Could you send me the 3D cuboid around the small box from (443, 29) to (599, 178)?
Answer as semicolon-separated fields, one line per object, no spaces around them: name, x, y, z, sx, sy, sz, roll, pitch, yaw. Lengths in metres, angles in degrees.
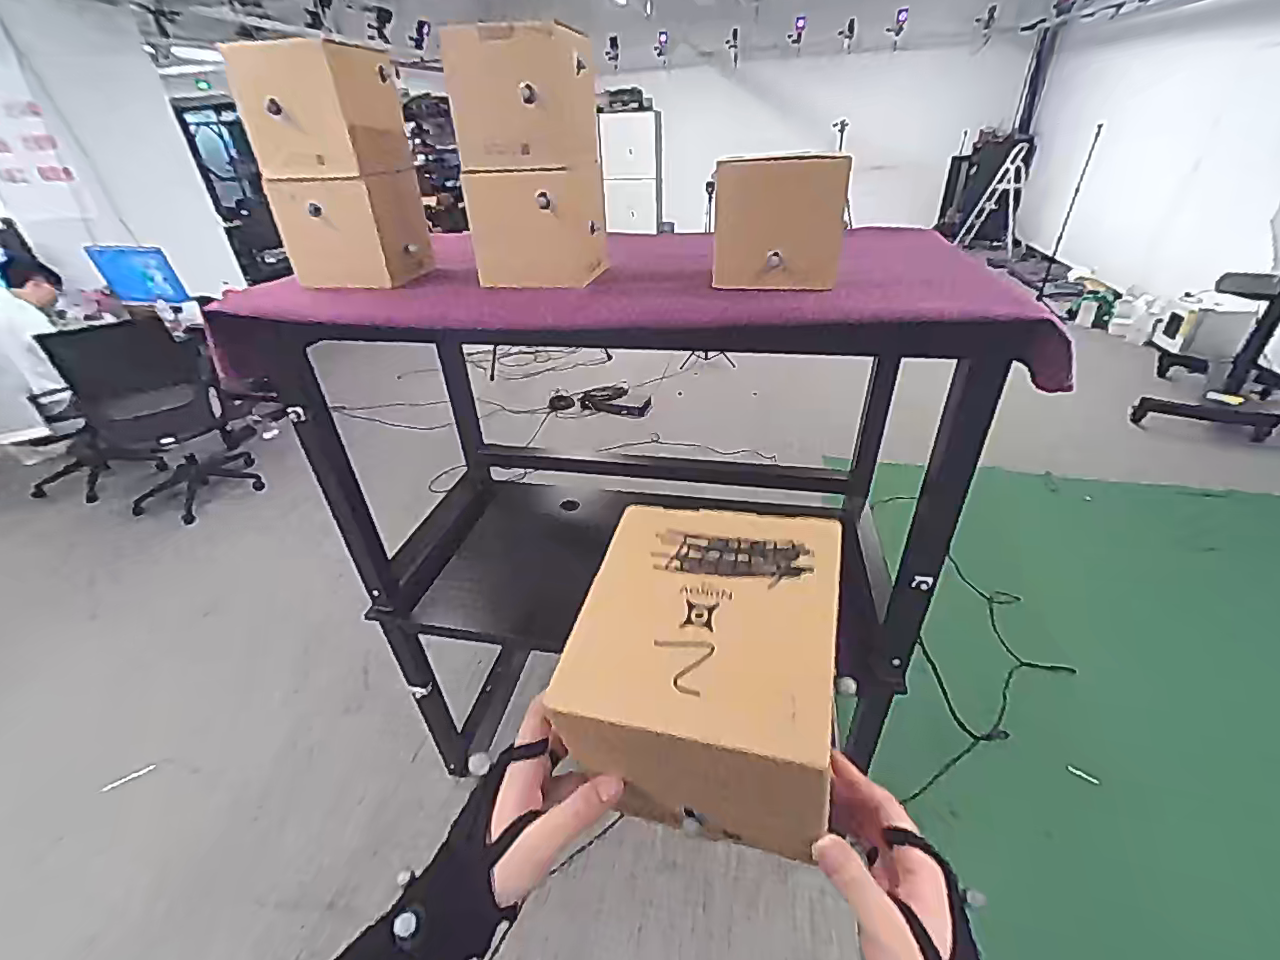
small box;-0.164;-0.552;0.815;0.168;0.176;0.179;5;32;11

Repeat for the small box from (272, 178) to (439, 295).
small box;-0.484;-0.428;0.950;0.179;0.176;0.168;4;33;8

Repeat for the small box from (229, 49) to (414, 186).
small box;-0.490;-0.567;0.867;0.168;0.176;0.179;2;32;8

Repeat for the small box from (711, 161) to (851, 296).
small box;0.205;-0.380;0.816;0.179;0.176;0.168;5;31;12

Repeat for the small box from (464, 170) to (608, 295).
small box;-0.158;-0.410;0.894;0.179;0.176;0.168;4;32;12
